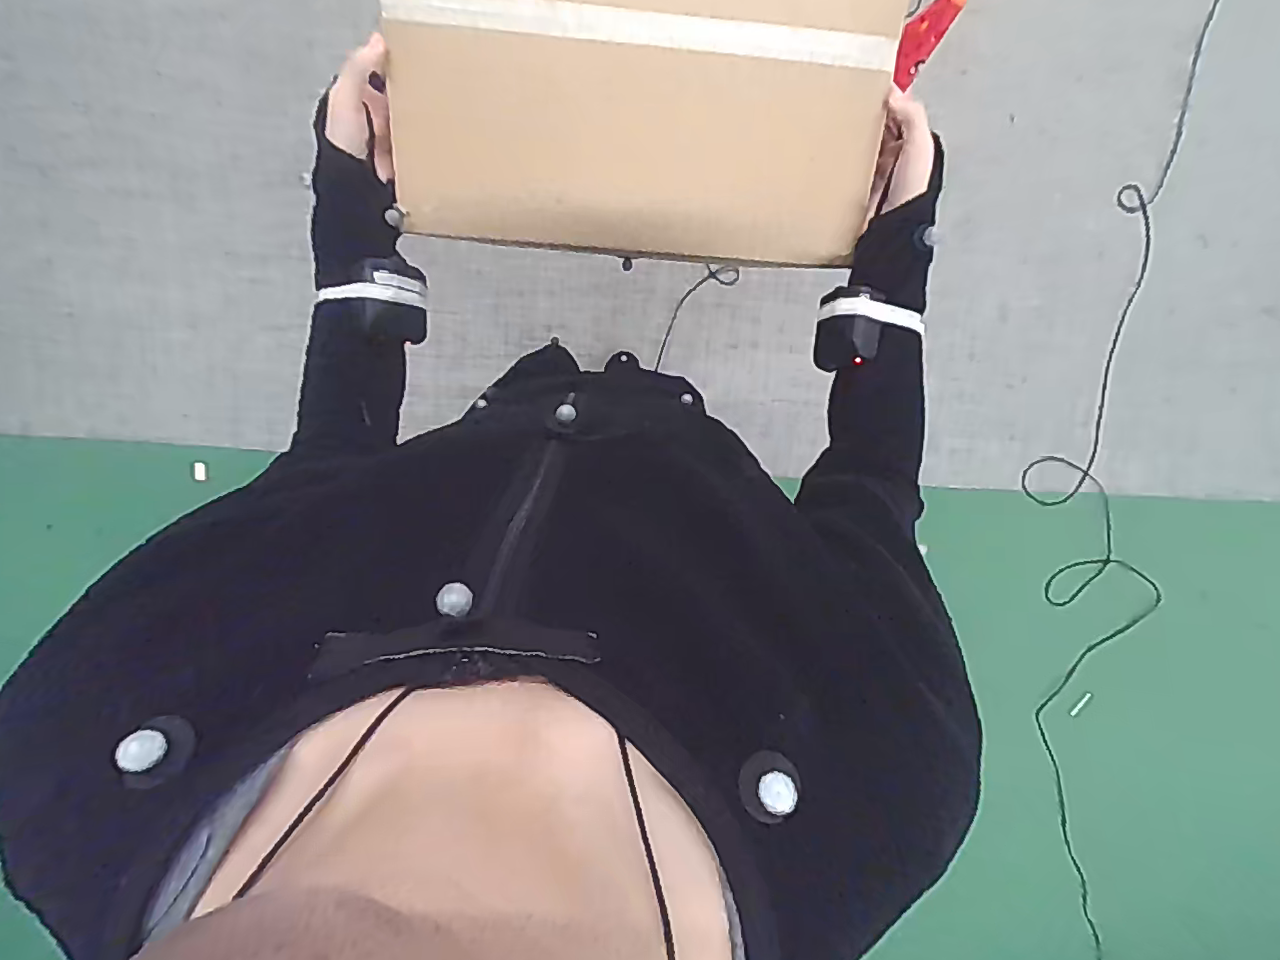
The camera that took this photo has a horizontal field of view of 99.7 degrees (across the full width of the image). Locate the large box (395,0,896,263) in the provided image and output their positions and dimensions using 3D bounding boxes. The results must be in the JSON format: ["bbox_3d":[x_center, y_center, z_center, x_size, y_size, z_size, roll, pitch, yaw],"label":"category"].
[{"bbox_3d":[0.000,-0.410,0.574,0.408,0.320,0.320,3,111,-4],"label":"large box"}]
